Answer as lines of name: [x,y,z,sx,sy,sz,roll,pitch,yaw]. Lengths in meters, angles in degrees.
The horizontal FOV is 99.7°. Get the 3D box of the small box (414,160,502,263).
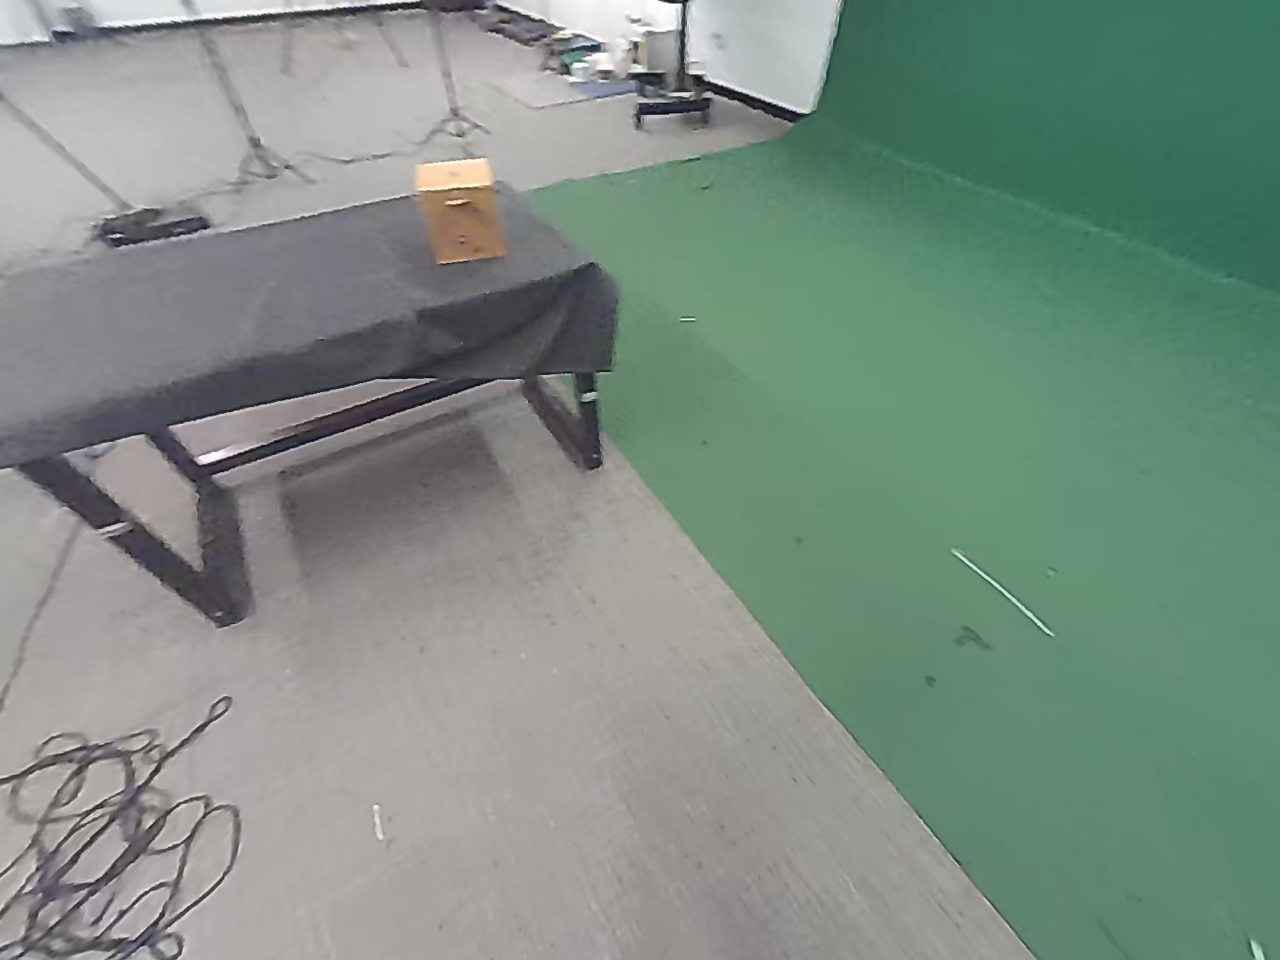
small box: [-0.434,-0.645,1.299,0.168,0.176,0.179,-12,50,-10]
